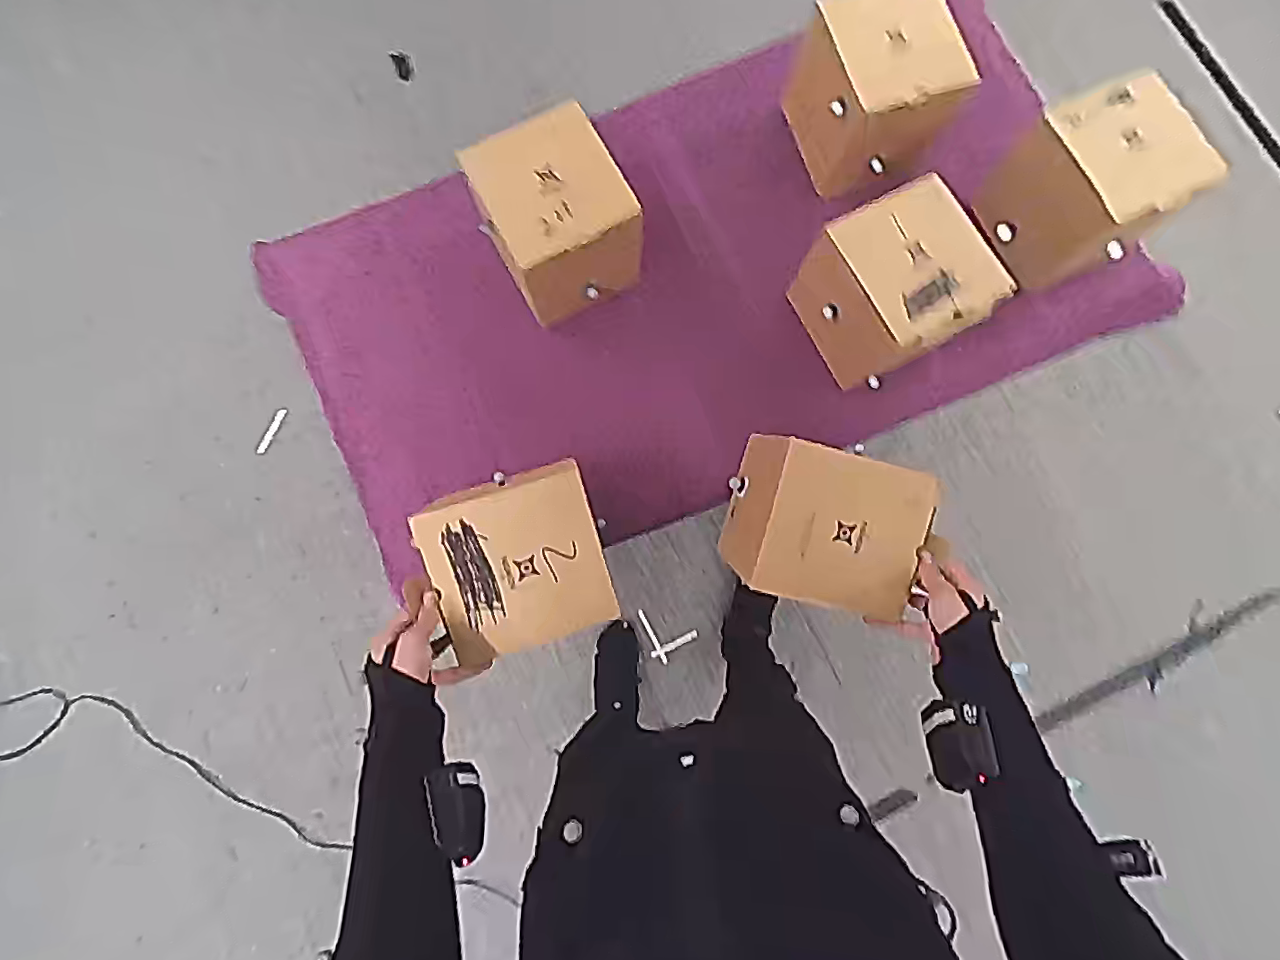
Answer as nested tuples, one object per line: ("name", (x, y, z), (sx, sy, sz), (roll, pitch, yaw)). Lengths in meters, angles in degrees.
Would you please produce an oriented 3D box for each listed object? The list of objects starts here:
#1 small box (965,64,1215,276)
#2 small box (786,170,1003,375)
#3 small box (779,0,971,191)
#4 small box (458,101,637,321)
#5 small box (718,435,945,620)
("small box", (0.608, -0.414, 0.757), (0.168, 0.176, 0.179), (-23, 81, -4))
("small box", (0.325, -0.261, 0.730), (0.168, 0.176, 0.179), (-27, 82, -5))
("small box", (0.321, -0.564, 0.780), (0.168, 0.176, 0.179), (-19, 83, -4))
("small box", (-0.117, -0.353, 0.738), (0.168, 0.176, 0.179), (-29, 83, -5))
("small box", (0.212, 0.044, 0.645), (0.179, 0.176, 0.168), (15, 94, -6))
